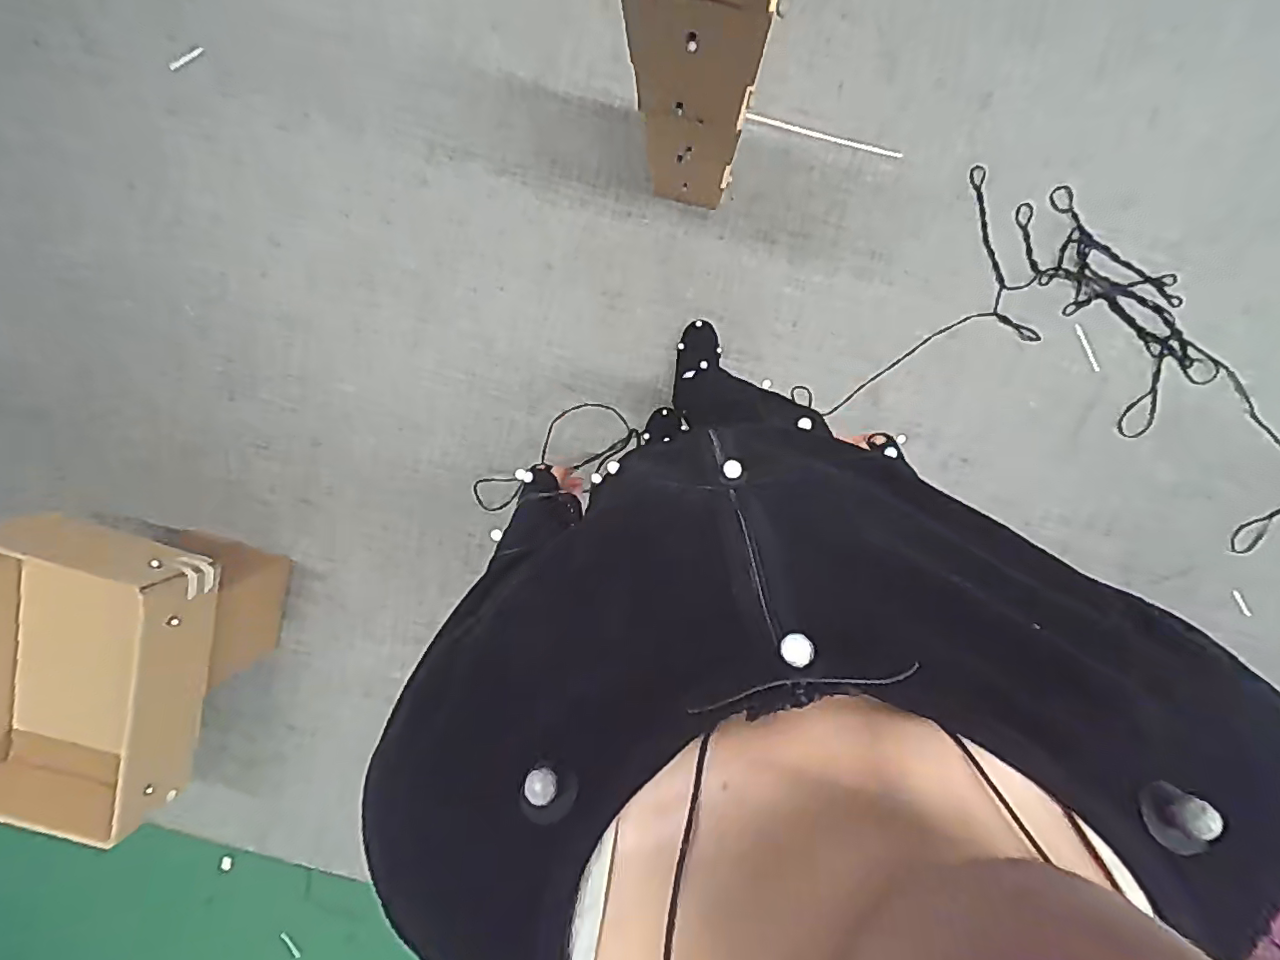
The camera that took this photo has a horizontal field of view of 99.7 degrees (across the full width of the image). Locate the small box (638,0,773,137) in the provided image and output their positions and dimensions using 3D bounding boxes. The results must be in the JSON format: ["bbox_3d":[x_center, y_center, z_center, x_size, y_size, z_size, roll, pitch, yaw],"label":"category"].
[{"bbox_3d":[0.098,-0.654,0.806,0.168,0.176,0.179,12,102,2],"label":"small box"}]

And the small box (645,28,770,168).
[{"bbox_3d":[0.113,-0.685,0.965,0.179,0.176,0.168,12,101,0],"label":"small box"}]

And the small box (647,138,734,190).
[{"bbox_3d":[0.122,-0.729,1.122,0.179,0.176,0.168,15,102,0],"label":"small box"}]

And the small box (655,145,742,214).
[{"bbox_3d":[0.140,-0.755,1.283,0.179,0.176,0.168,14,101,0],"label":"small box"}]
